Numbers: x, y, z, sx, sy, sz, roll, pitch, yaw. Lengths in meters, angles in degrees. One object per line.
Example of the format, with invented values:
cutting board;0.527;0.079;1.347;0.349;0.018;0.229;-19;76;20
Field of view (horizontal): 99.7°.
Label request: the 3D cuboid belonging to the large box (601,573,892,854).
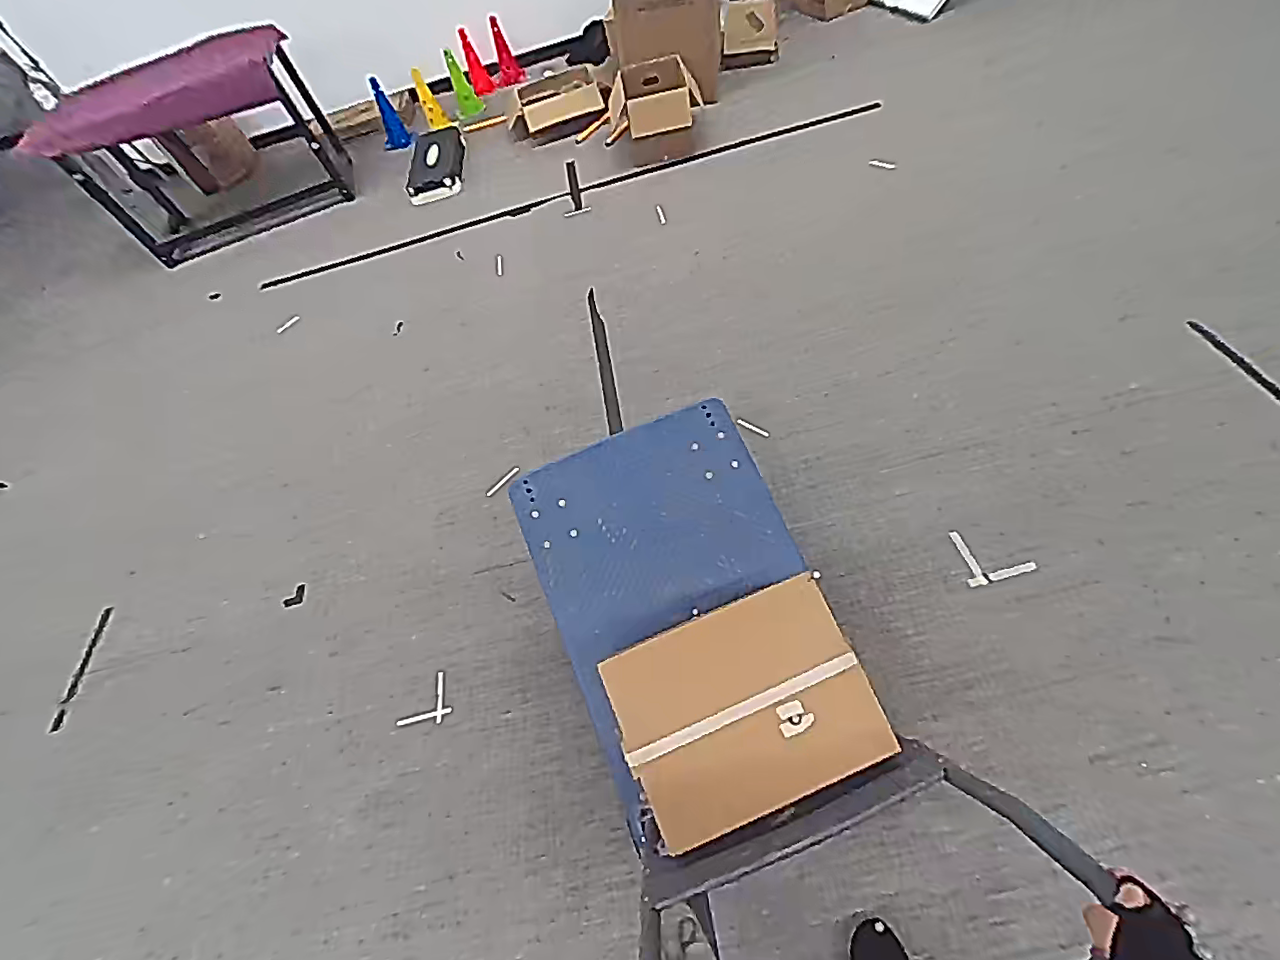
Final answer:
large box;0.175;0.416;1.041;0.408;0.320;0.320;-23;76;-4
